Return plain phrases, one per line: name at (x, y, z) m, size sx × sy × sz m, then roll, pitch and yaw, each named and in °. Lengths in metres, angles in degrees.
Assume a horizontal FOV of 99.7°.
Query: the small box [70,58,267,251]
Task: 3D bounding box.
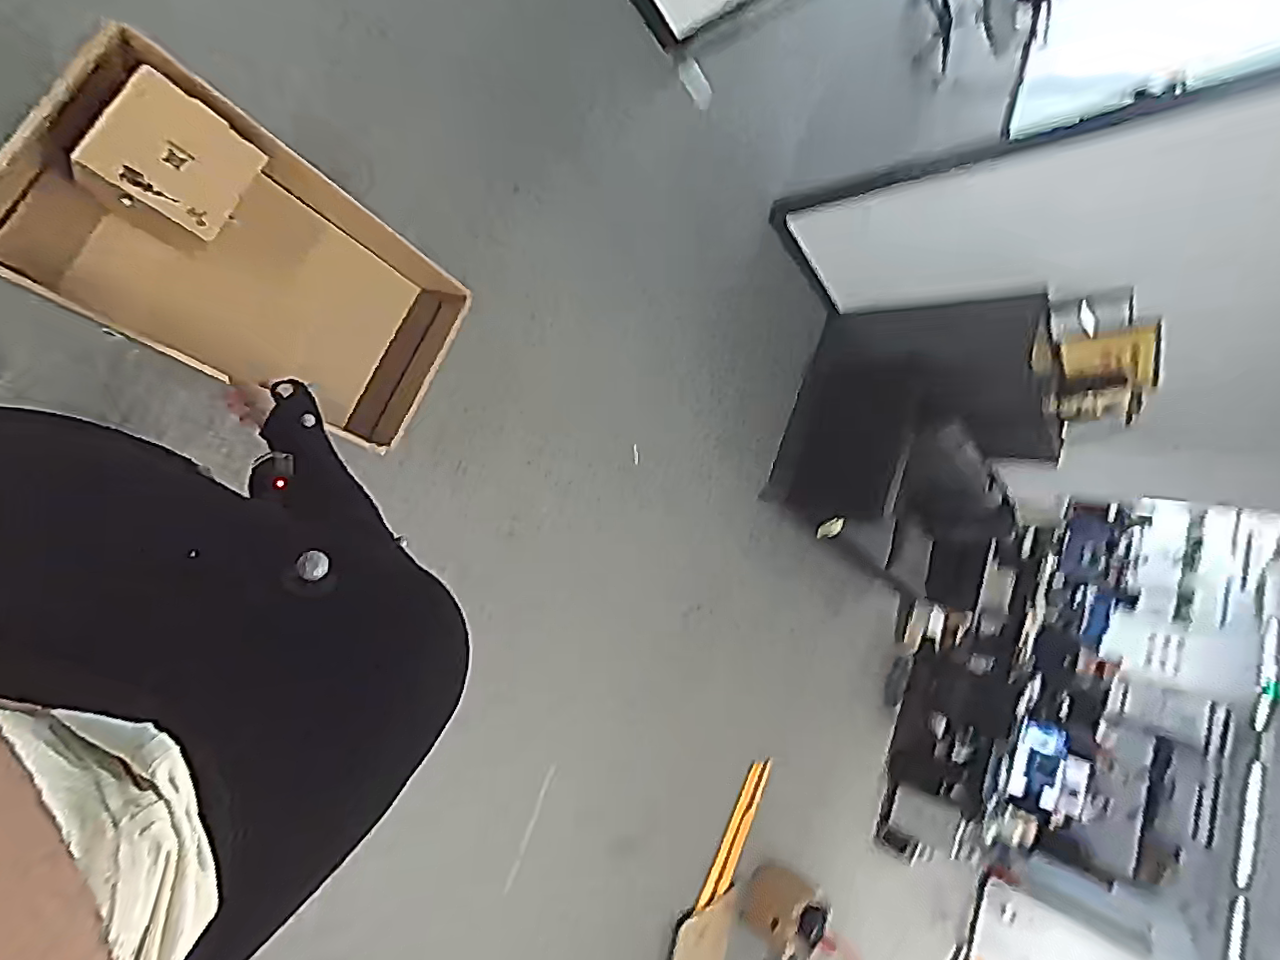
small box at (-0.733, -0.492, 0.844) m, size 0.168 × 0.176 × 0.179 m, roll 37°, pitch 71°, yaw -42°
